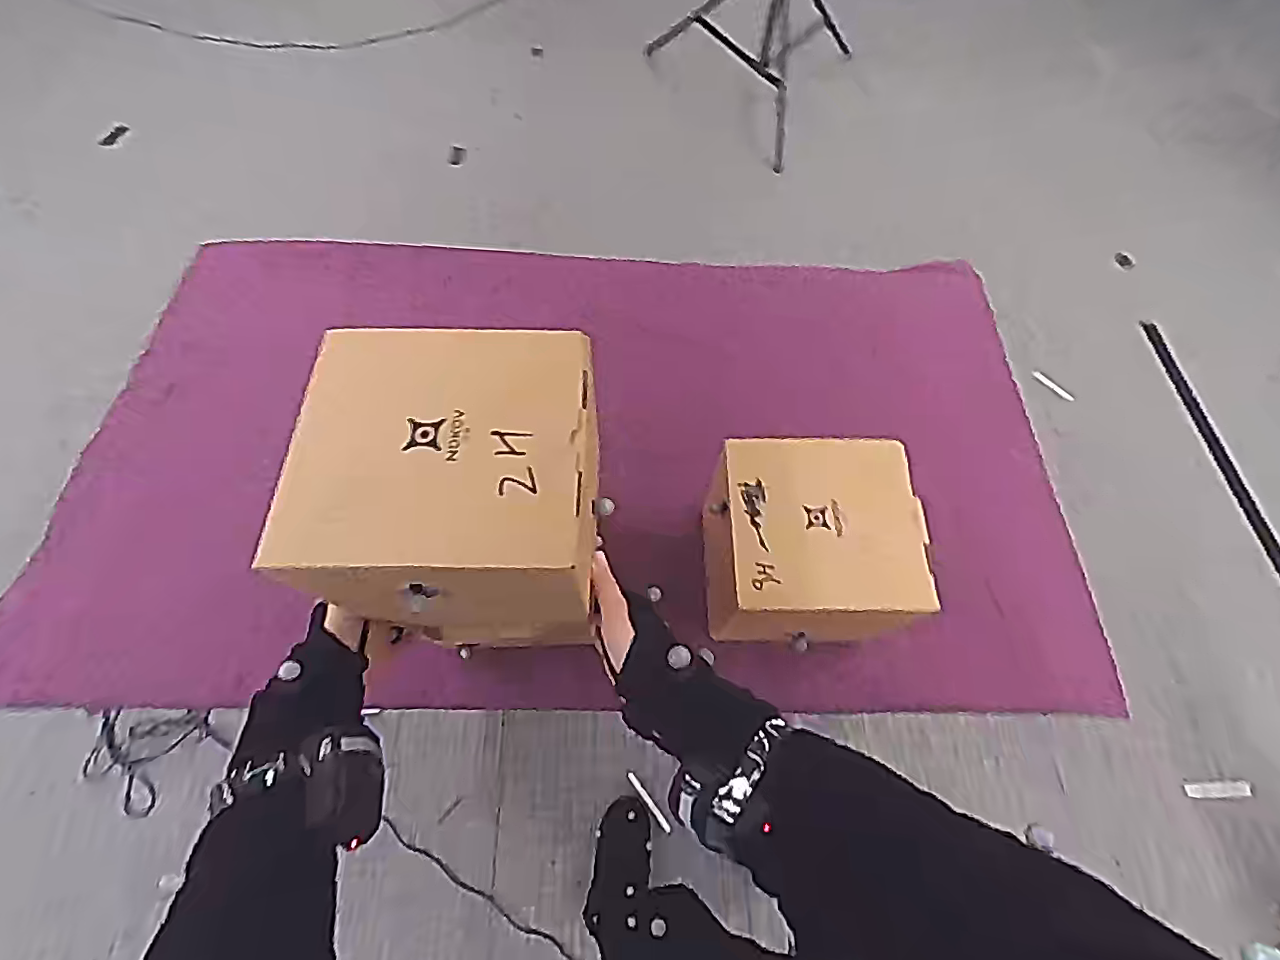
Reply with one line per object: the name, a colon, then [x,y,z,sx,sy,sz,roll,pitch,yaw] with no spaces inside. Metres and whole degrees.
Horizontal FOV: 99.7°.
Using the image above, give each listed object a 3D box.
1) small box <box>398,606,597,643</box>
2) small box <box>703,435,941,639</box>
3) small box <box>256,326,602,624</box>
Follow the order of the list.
small box: [-0.130,0.066,0.549,0.168,0.176,0.179,-2,64,-3]
small box: [0.167,0.067,0.559,0.179,0.176,0.168,1,65,-2]
small box: [-0.120,0.009,0.394,0.179,0.176,0.168,0,65,-2]
